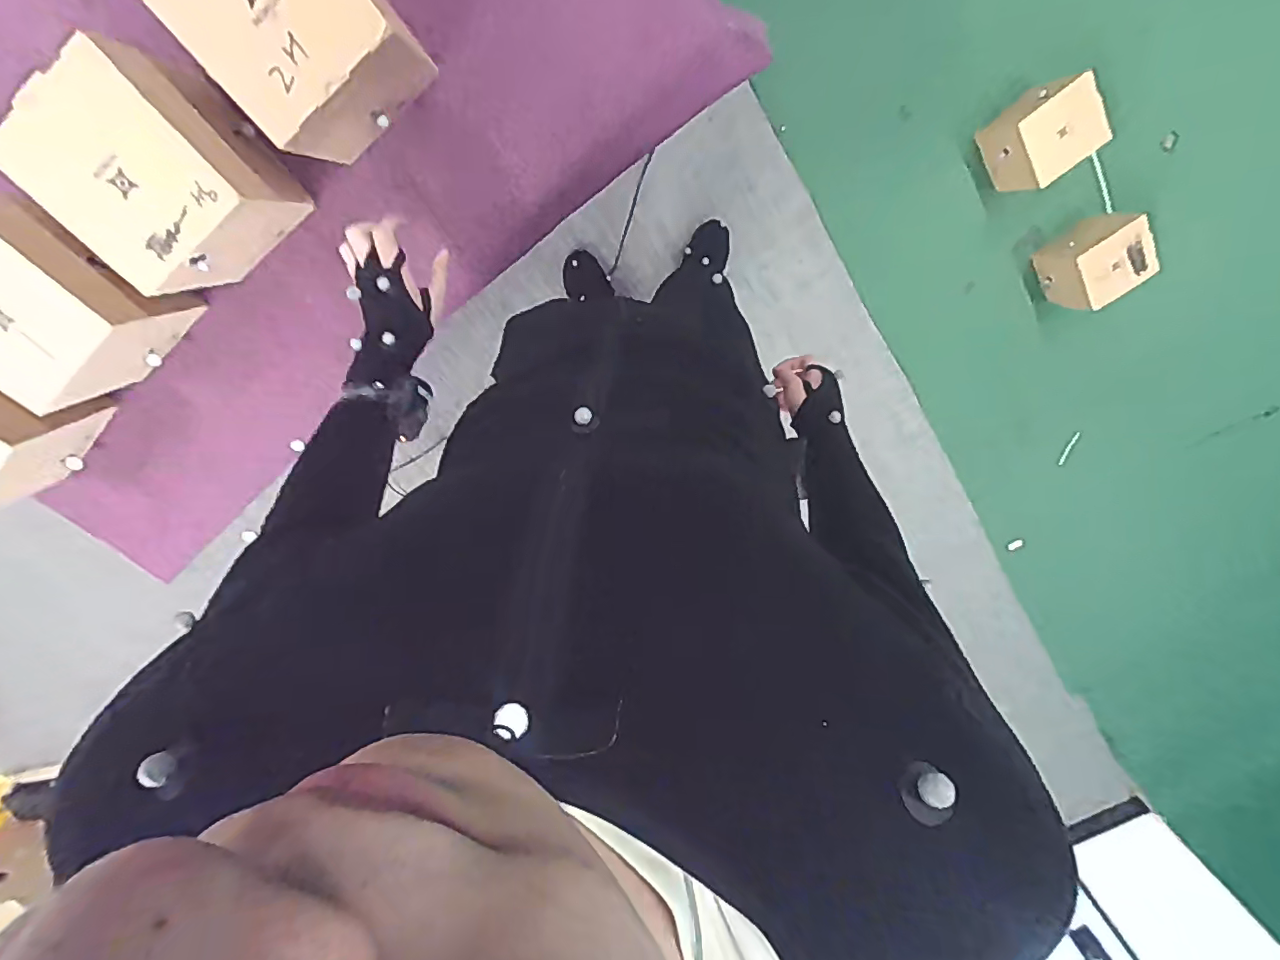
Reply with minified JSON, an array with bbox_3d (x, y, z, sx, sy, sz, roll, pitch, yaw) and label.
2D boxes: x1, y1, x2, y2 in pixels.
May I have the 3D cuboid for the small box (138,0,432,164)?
[{"bbox_3d":[-0.358,-0.469,0.572,0.168,0.176,0.179,-35,113,13],"label":"small box"}]

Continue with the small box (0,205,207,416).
[{"bbox_3d":[-0.712,-0.214,0.672,0.168,0.176,0.179,-37,113,14],"label":"small box"}]

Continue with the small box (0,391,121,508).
[{"bbox_3d":[-0.884,-0.075,0.728,0.168,0.176,0.179,-41,112,16],"label":"small box"}]

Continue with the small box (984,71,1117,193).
[{"bbox_3d":[0.963,-0.815,1.290,0.179,0.176,0.168,-37,112,12],"label":"small box"}]
